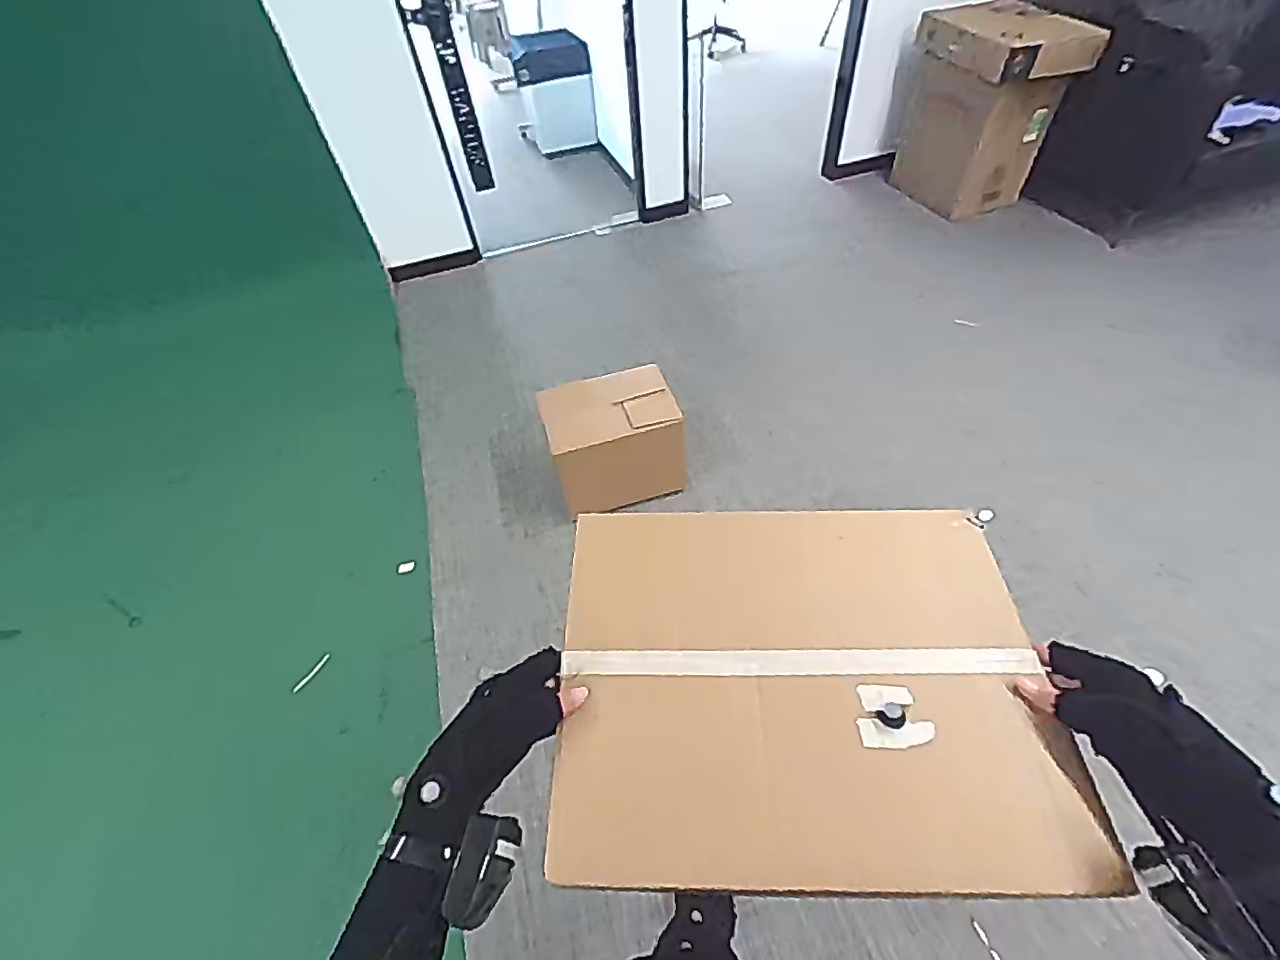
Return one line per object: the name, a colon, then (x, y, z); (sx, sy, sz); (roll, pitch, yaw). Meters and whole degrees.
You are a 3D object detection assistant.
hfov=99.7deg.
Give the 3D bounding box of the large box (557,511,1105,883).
large box: (0.138, 0.246, 0.596); (0.408, 0.320, 0.320); (0, 53, 2)
